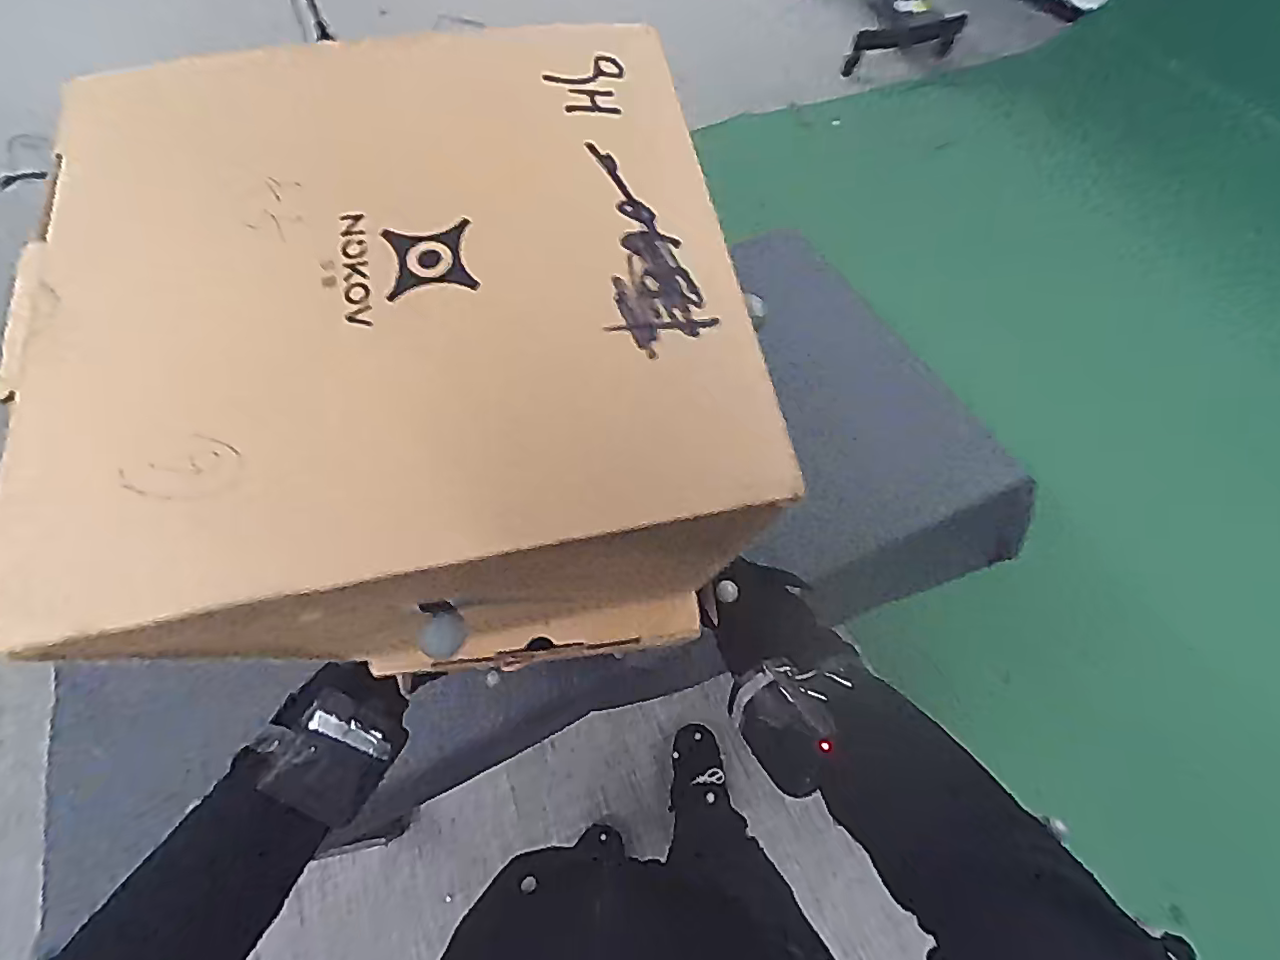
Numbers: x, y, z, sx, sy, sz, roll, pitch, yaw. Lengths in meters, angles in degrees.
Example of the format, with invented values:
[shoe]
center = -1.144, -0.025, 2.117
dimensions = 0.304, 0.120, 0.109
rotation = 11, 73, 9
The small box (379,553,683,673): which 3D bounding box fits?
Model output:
[small box]
center = -0.071, 0.028, 0.384
dimensions = 0.168, 0.176, 0.179
rotation = -9, 73, -5
